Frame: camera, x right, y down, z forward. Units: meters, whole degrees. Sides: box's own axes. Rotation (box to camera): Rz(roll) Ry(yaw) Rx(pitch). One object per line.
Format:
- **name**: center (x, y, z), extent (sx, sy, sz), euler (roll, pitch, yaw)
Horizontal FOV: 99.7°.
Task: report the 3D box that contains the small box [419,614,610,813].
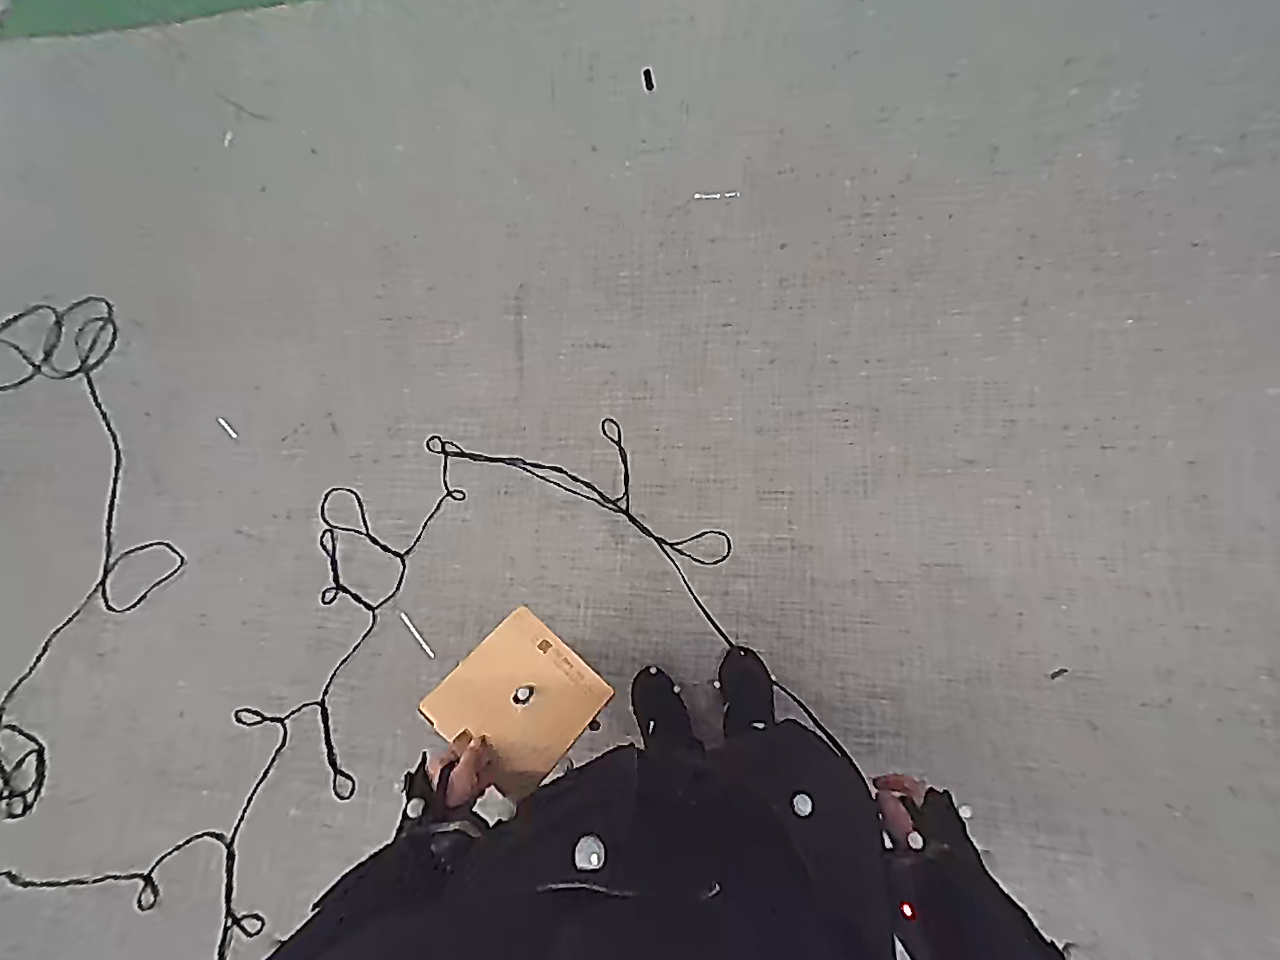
- **small box**: center (-0.159, 0.304, 0.720), extent (0.168, 0.179, 0.176), euler (39, 62, 10)
